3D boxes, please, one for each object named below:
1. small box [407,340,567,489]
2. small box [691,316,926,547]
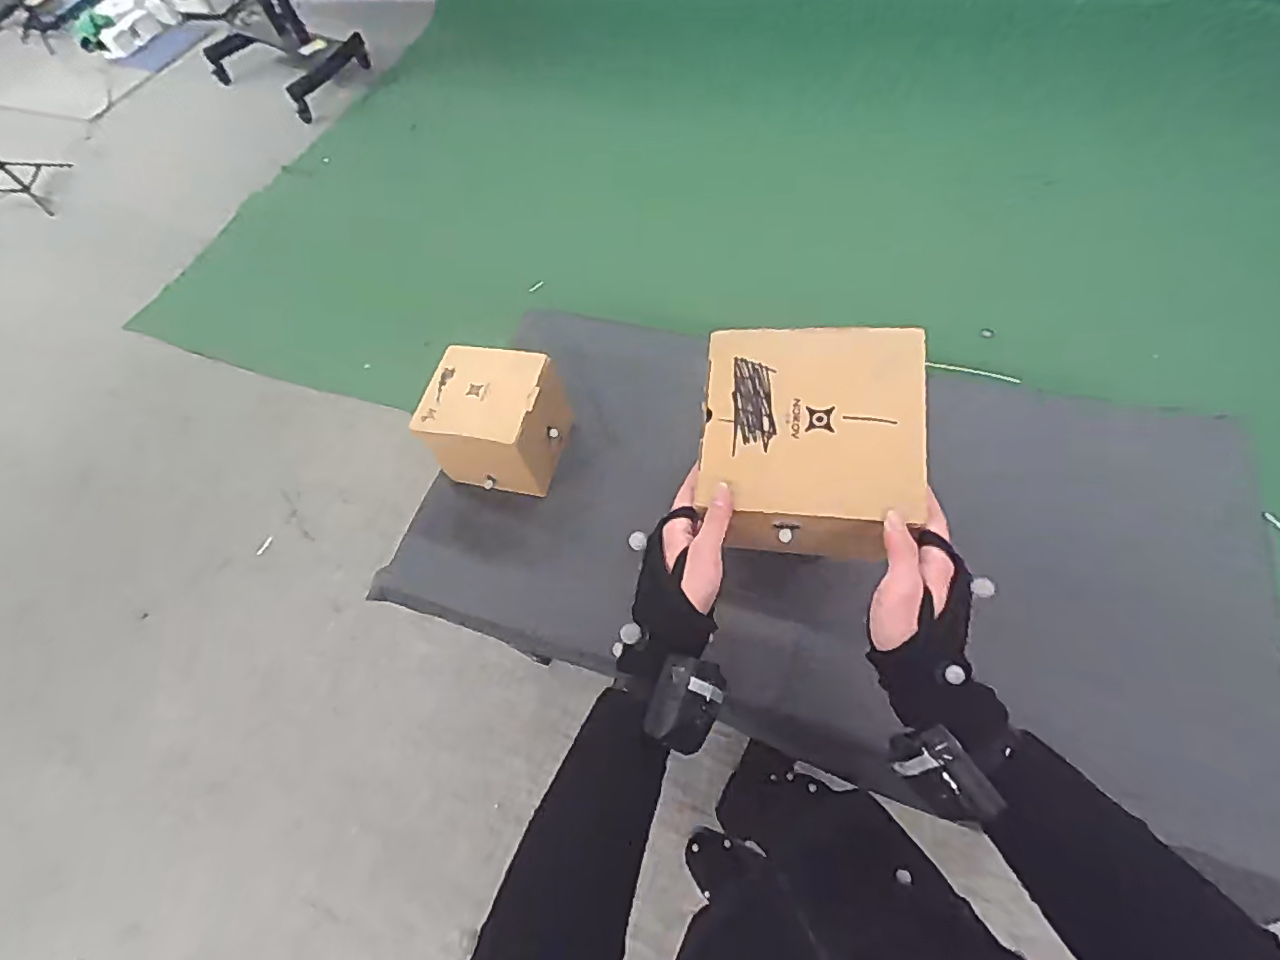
[{"bbox_3d":[-0.233,-0.101,0.881,0.179,0.176,0.168,10,63,11],"label":"small box"},{"bbox_3d":[0.154,-0.037,0.510,0.179,0.176,0.168,4,74,14],"label":"small box"}]
